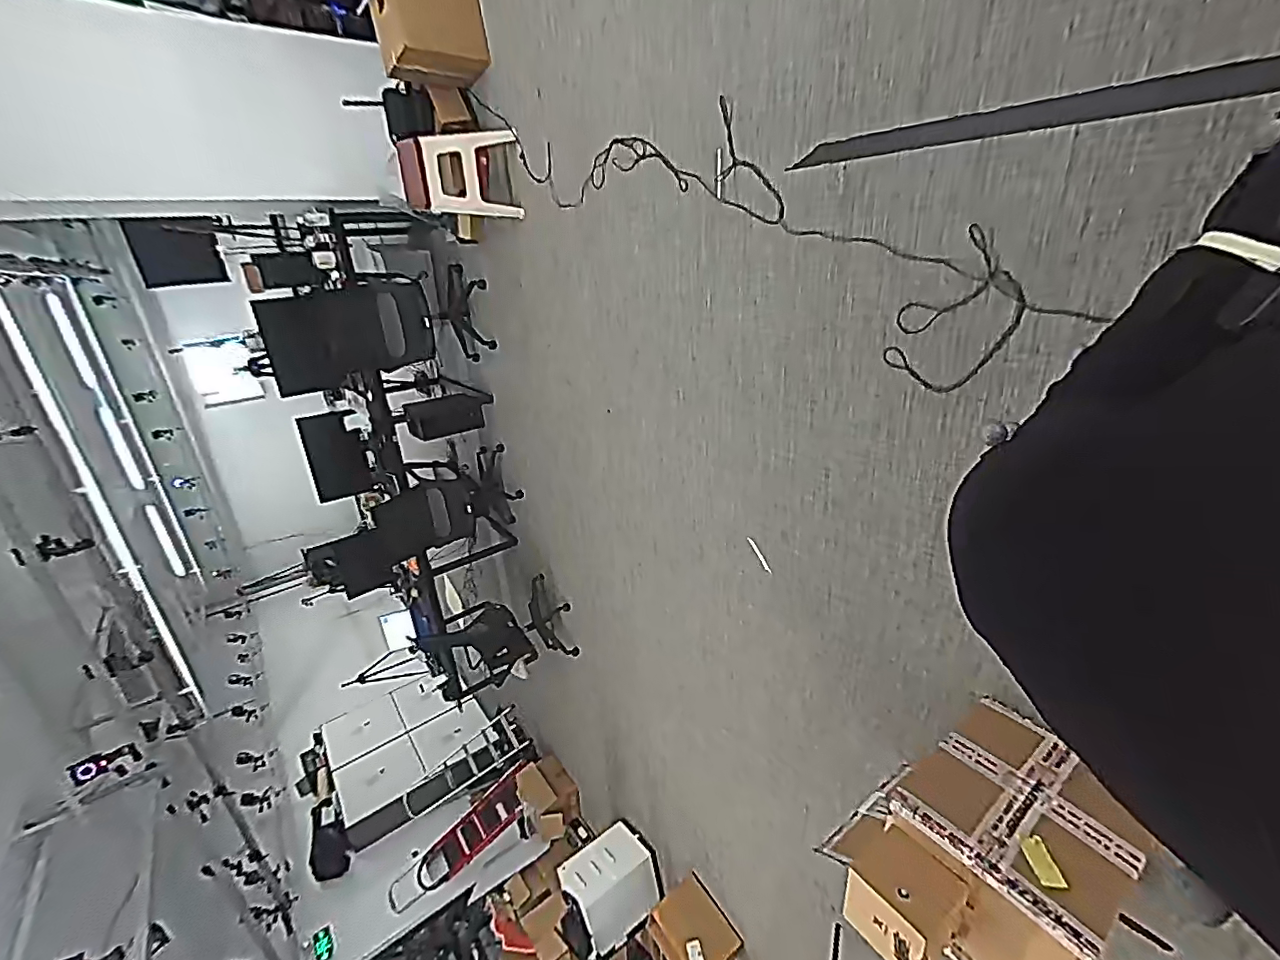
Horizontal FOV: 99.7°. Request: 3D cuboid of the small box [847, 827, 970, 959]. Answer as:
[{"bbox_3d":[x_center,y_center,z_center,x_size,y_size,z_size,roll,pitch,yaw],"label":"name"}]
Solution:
[{"bbox_3d":[0.582,0.913,1.176,0.179,0.176,0.168,26,125,51],"label":"small box"}]
